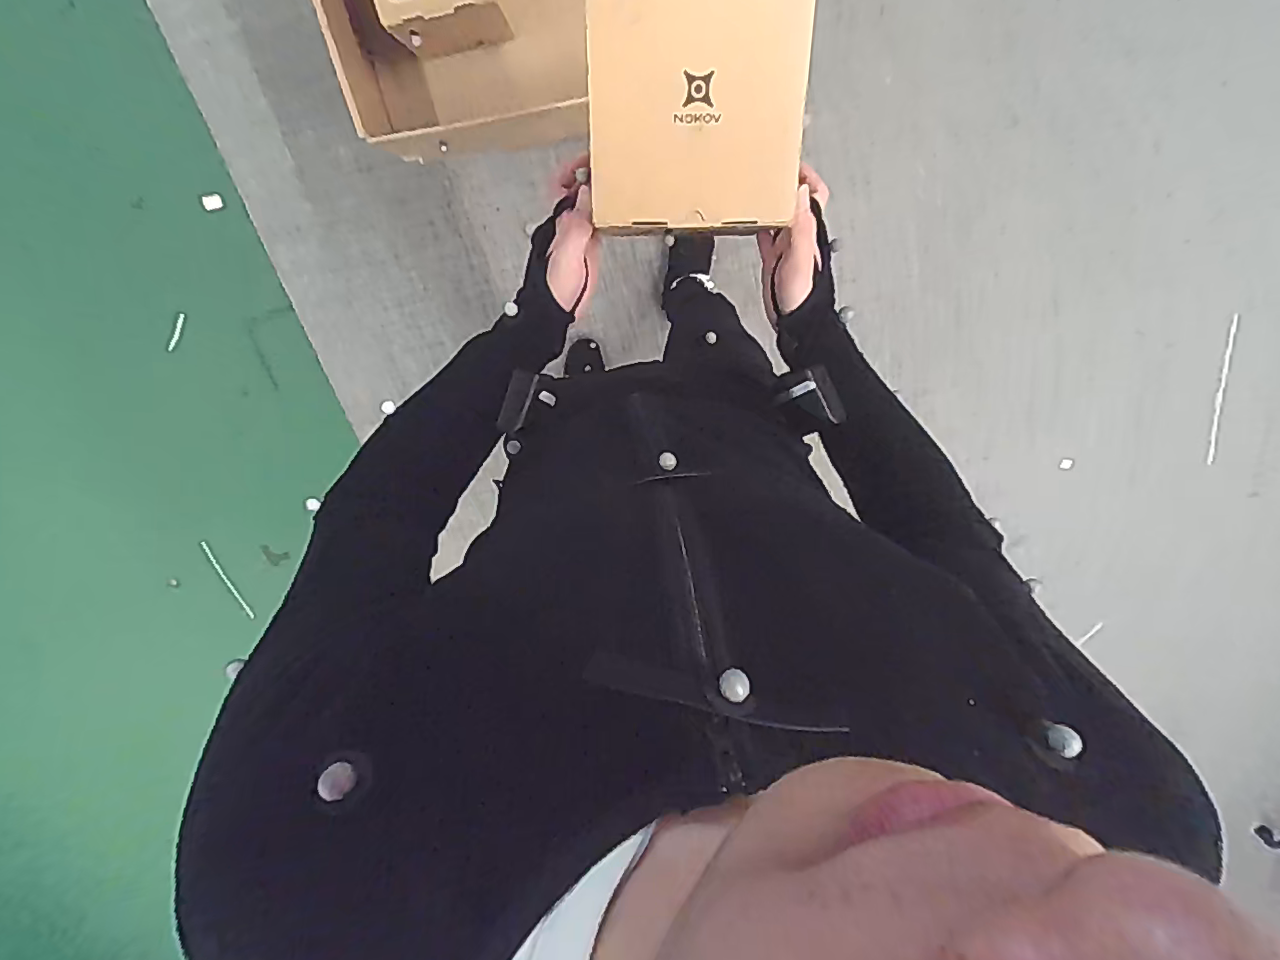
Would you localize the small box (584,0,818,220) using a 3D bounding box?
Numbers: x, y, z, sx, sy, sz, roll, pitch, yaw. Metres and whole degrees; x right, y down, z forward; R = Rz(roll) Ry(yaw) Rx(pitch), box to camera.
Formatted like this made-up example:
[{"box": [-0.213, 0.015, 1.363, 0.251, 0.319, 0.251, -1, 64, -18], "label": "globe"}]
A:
[{"box": [0.040, -0.324, 0.462, 0.168, 0.176, 0.179, -2, 114, -1], "label": "small box"}]
